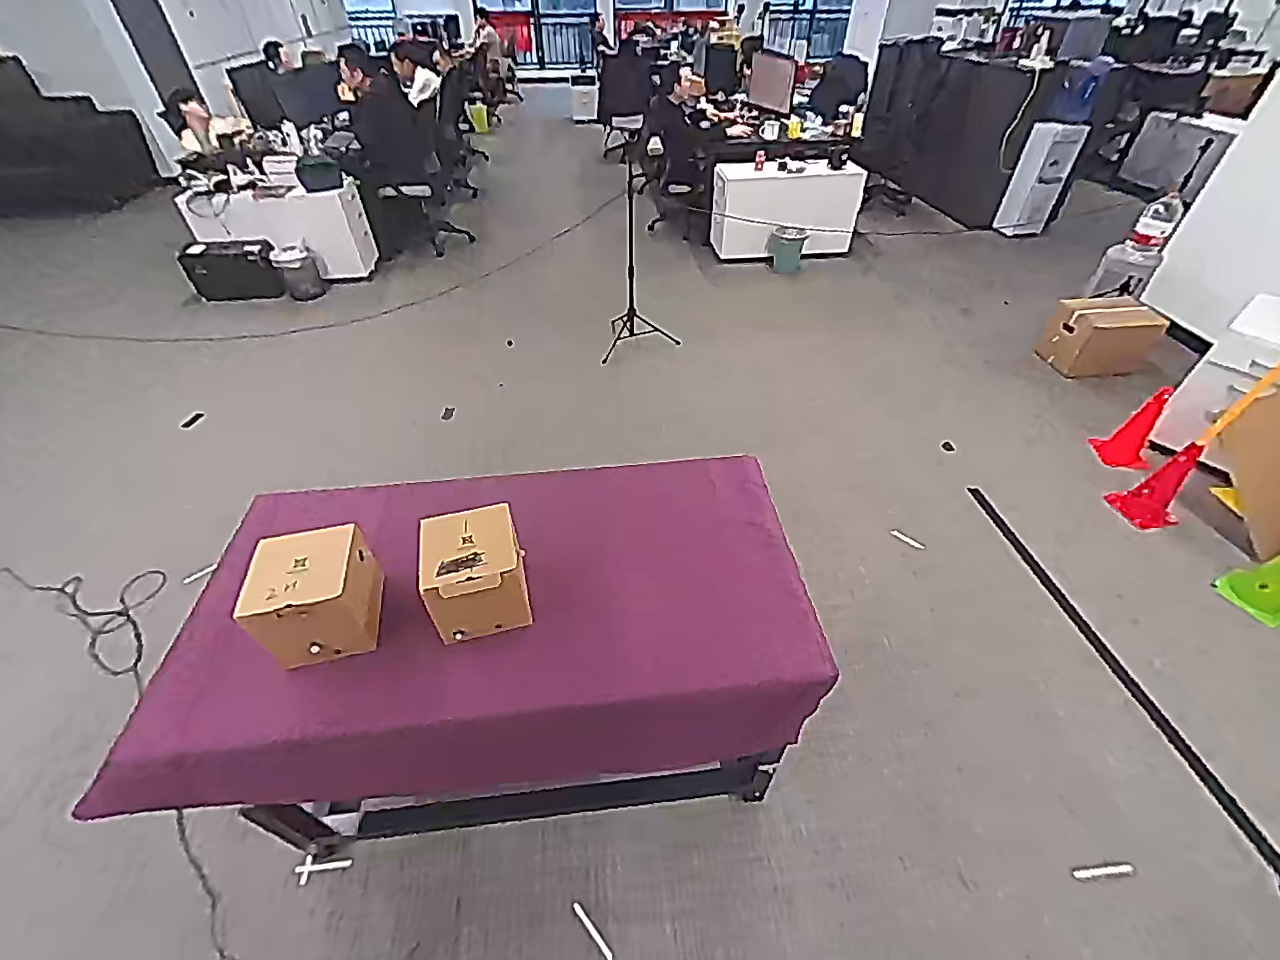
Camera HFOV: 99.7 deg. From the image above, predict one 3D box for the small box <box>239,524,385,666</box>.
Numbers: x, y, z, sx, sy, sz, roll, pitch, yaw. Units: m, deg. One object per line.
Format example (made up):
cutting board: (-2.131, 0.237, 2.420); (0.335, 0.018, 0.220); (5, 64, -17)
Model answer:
small box: (-0.585, 0.211, 0.995); (0.168, 0.176, 0.179); (-10, 44, -10)

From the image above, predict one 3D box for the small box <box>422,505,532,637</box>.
small box: (-0.306, 0.178, 1.030); (0.168, 0.176, 0.179); (-11, 43, -11)
